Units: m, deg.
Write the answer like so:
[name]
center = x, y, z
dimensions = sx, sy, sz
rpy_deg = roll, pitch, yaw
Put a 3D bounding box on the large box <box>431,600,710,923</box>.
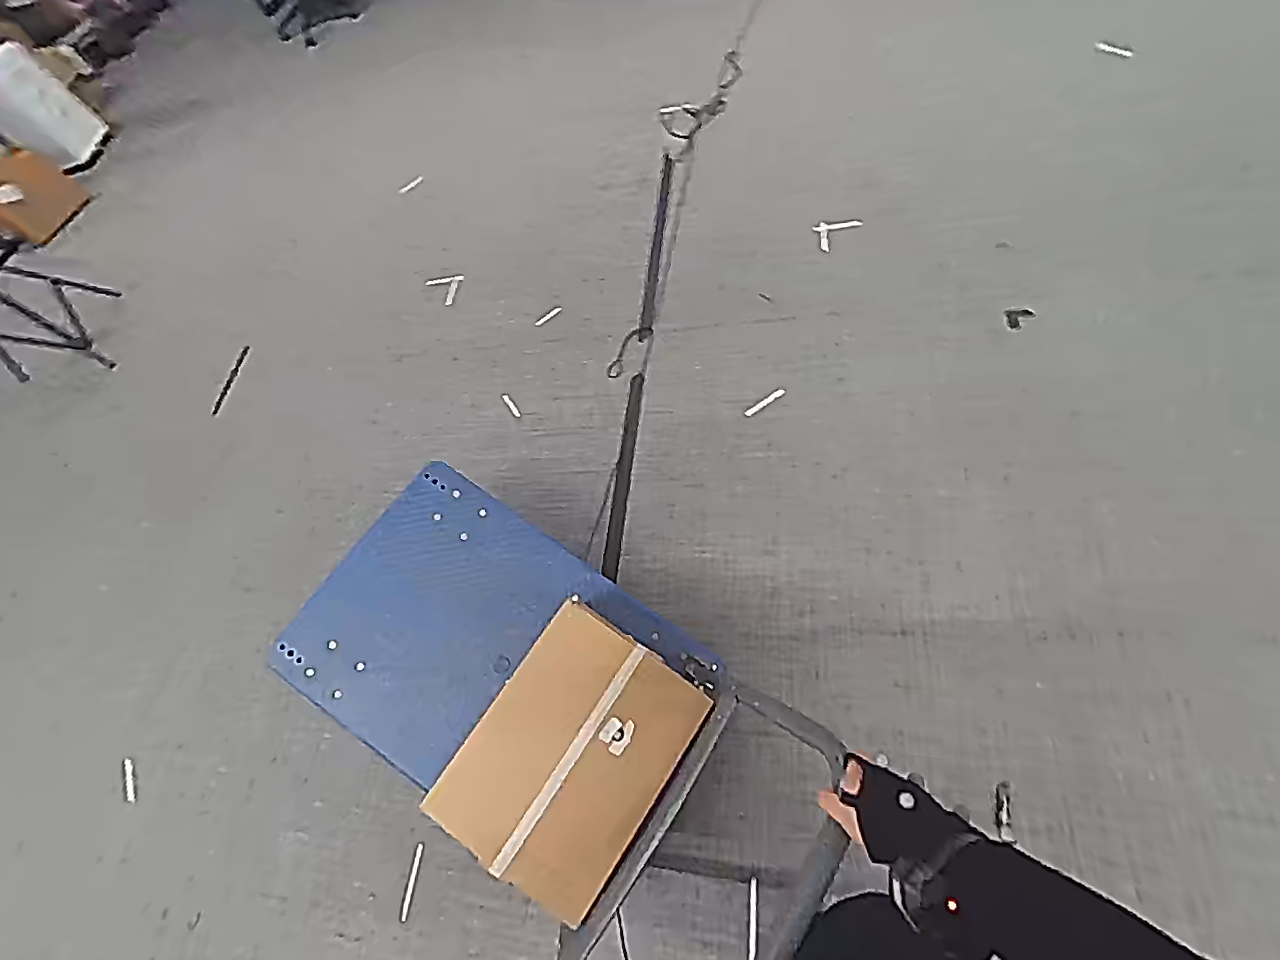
[large box]
center = -0.118, 0.496, 1.048
dimensions = 0.320, 0.320, 0.408
rpy_deg = 34, 75, 5
